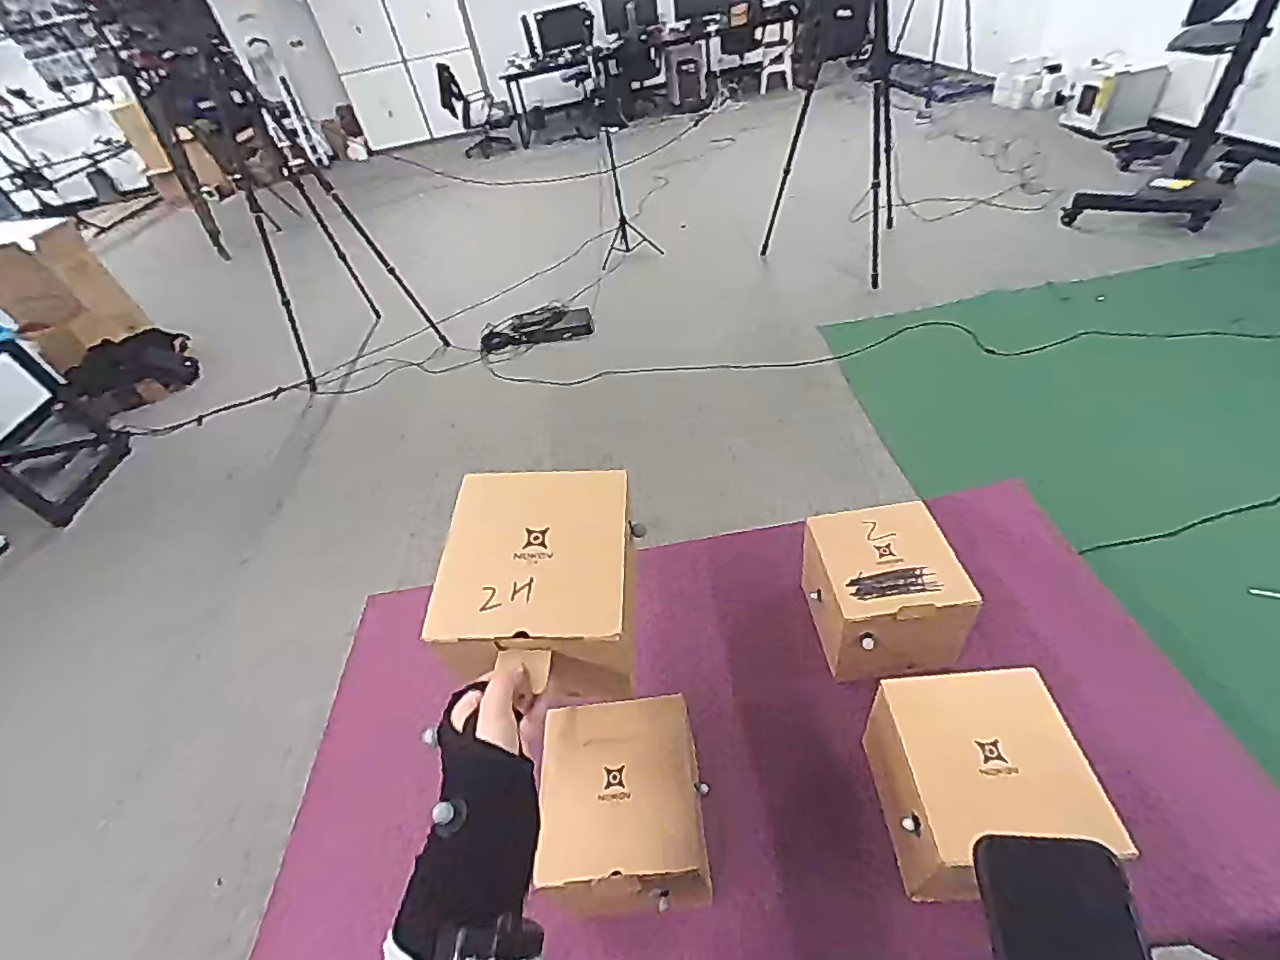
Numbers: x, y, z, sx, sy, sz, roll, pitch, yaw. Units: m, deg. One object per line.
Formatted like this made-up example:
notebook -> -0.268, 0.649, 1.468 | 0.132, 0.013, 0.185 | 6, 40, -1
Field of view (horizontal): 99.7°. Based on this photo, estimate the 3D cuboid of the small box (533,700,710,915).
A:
small box -> -0.014, 0.384, 0.628 | 0.168, 0.176, 0.179 | -8, 42, 4

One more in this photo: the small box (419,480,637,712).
small box -> -0.092, 0.119, 0.547 | 0.168, 0.176, 0.179 | -2, 52, 4

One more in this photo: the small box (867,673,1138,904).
small box -> 0.360, 0.335, 0.587 | 0.168, 0.176, 0.179 | -7, 44, 6
